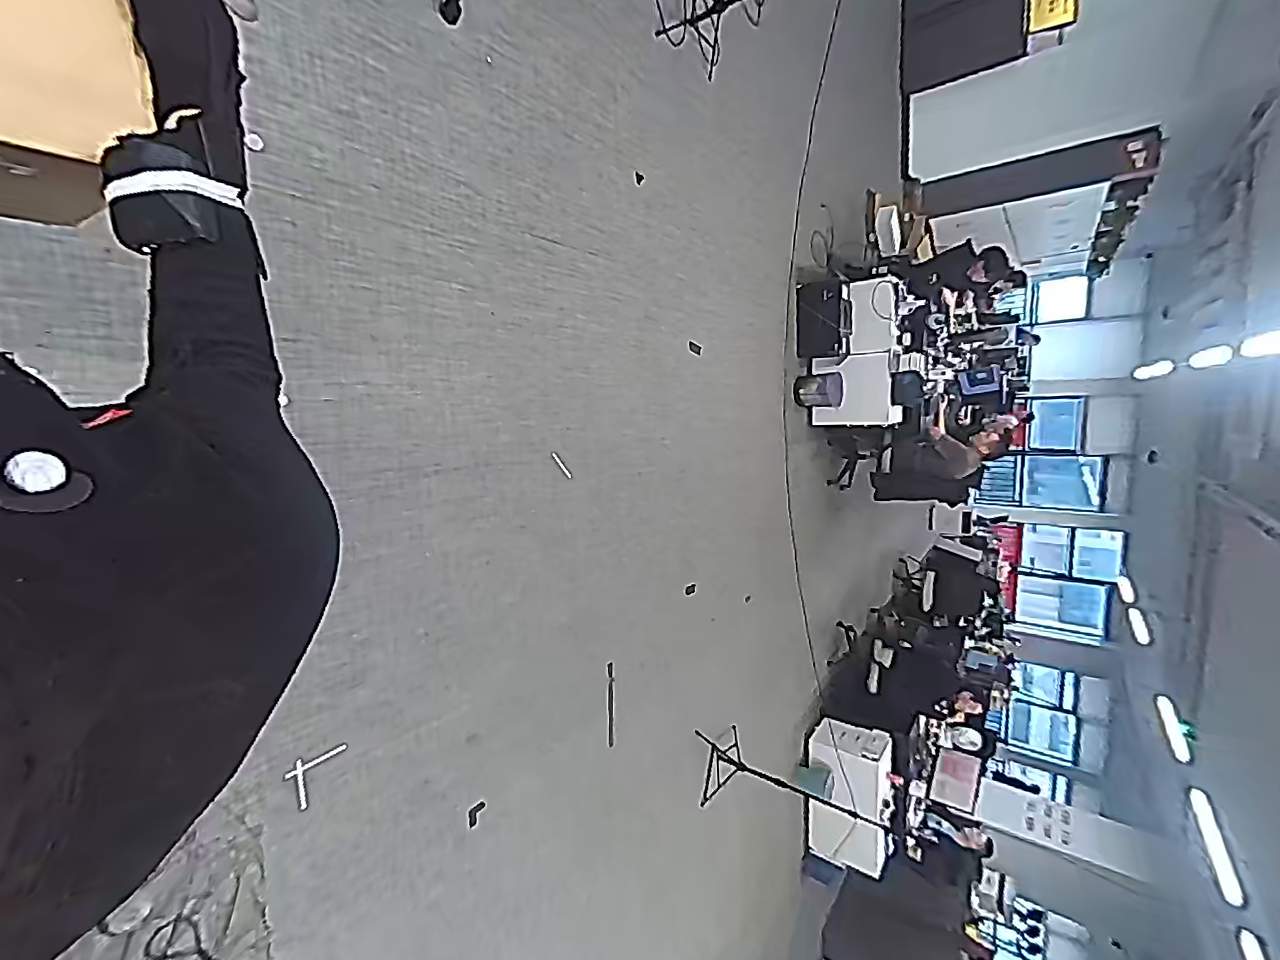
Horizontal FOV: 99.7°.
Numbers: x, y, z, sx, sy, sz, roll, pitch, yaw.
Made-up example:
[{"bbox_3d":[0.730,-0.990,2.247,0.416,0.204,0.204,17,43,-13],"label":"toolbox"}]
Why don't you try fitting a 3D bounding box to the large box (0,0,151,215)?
[{"bbox_3d":[-0.597,-0.374,0.300,0.408,0.320,0.320,-13,111,-54],"label":"large box"}]
